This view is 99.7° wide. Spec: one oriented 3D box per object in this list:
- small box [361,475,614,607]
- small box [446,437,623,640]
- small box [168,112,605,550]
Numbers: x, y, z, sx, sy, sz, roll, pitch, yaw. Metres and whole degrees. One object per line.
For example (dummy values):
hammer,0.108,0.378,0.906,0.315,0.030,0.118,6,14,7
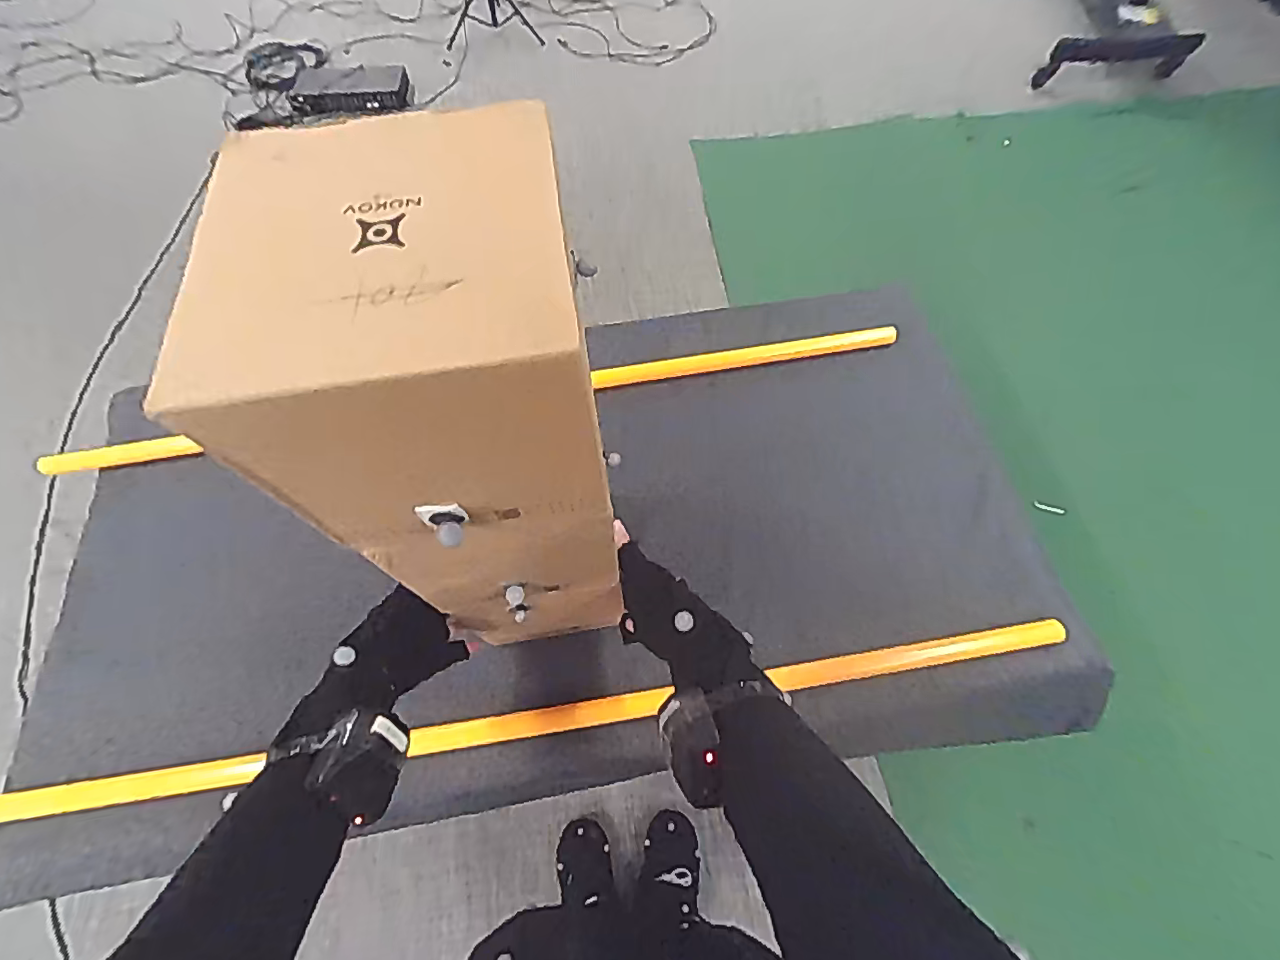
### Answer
small box,-0.116,-0.005,0.470,0.168,0.176,0.179,-9,64,-4
small box,-0.113,0.070,0.618,0.168,0.176,0.179,-9,64,-3
small box,-0.117,-0.077,0.325,0.168,0.176,0.179,-10,64,-3
